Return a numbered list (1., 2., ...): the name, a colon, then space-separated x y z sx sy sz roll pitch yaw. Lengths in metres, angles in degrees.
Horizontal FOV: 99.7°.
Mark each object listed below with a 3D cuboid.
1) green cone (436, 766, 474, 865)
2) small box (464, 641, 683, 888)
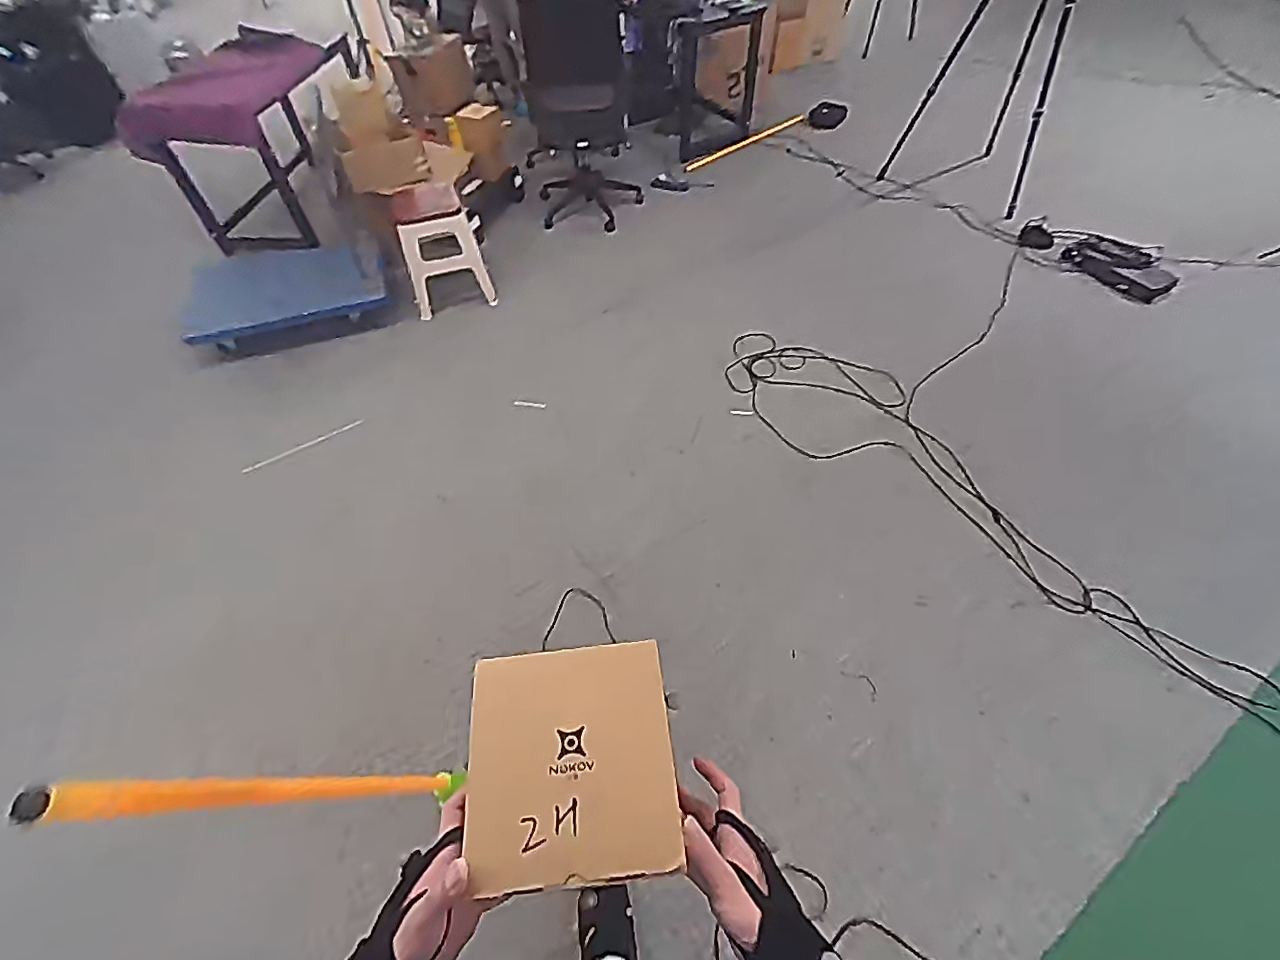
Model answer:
1. green cone: -0.403 0.731 1.252 0.202 0.368 0.200 -26 57 -19
2. small box: -0.054 0.271 0.512 0.168 0.176 0.179 -5 54 -2
